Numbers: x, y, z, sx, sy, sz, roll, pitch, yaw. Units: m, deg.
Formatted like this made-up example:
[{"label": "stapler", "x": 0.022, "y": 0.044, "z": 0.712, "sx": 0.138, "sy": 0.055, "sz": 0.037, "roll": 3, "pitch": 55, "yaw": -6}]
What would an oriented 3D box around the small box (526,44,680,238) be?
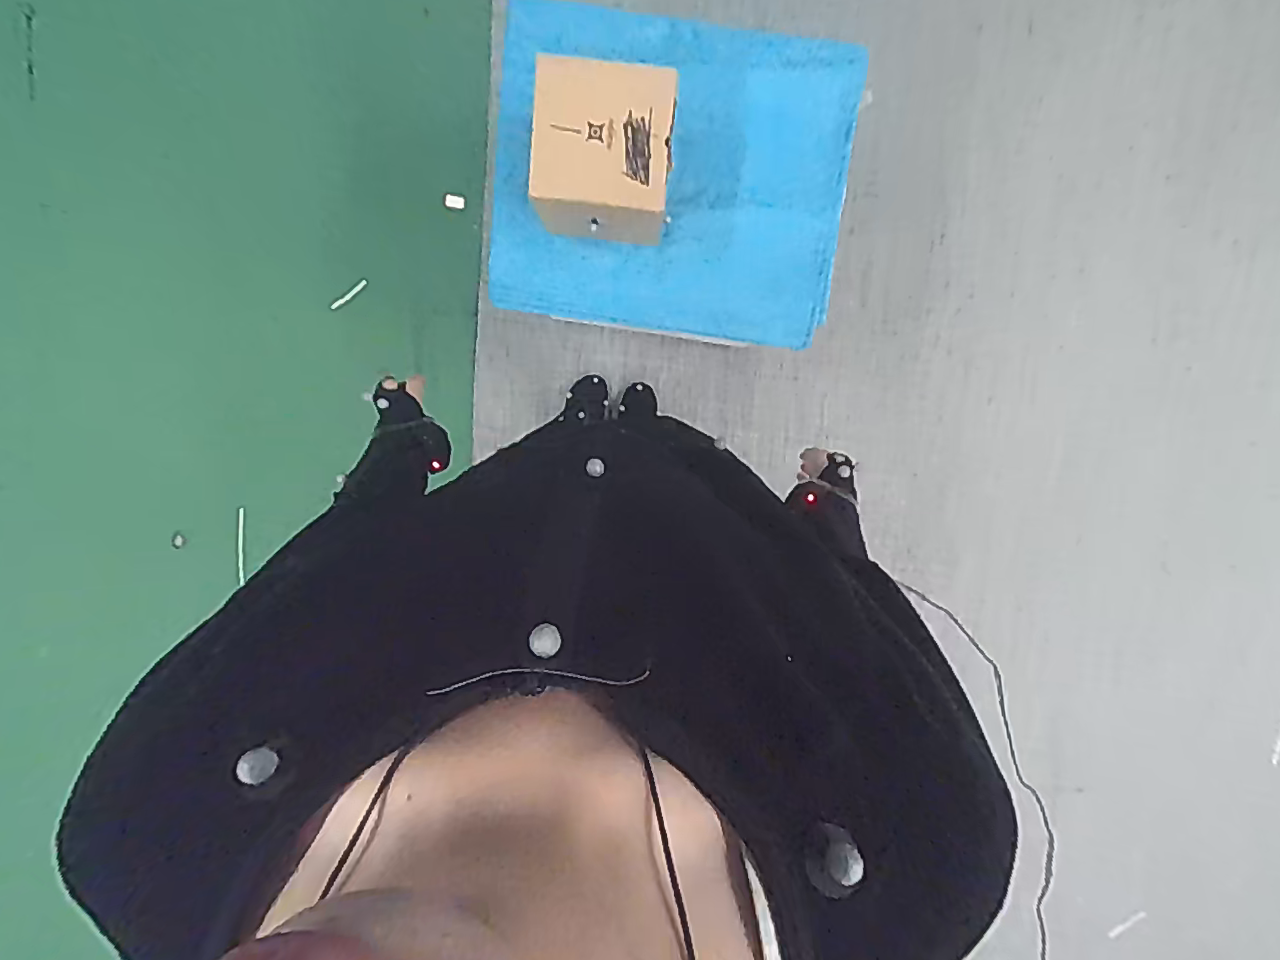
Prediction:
[{"label": "small box", "x": -0.047, "y": -0.443, "z": 0.738, "sx": 0.179, "sy": 0.176, "sz": 0.168, "roll": 6, "pitch": 99, "yaw": -1}]
